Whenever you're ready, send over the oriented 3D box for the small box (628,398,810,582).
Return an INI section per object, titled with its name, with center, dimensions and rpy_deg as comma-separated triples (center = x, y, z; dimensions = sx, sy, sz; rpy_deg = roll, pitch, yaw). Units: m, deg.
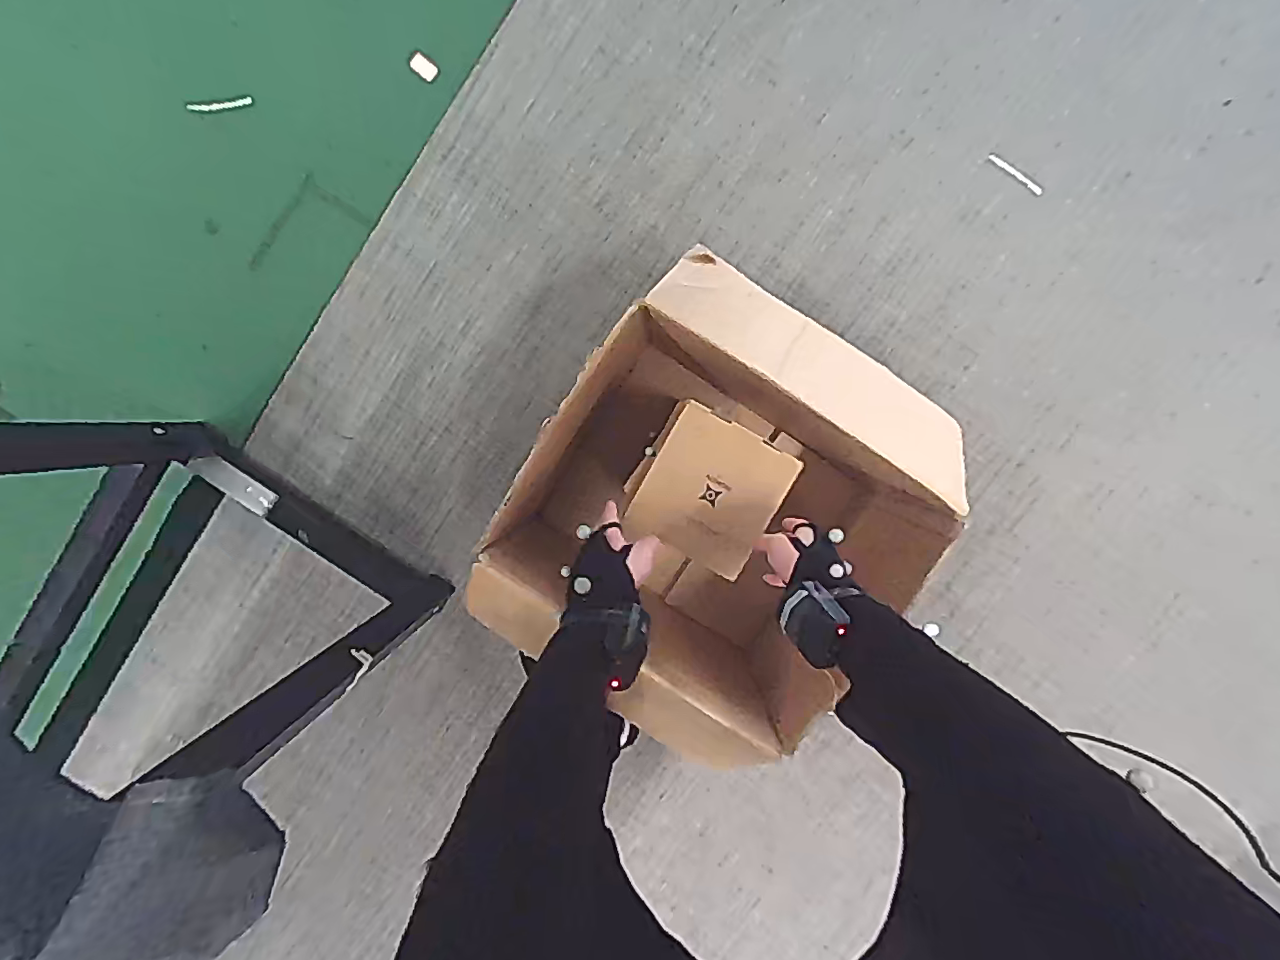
[small box]
center = 0.095, 0.004, 0.735
dimensions = 0.168, 0.176, 0.179
rpy_deg = 30, 97, -4
